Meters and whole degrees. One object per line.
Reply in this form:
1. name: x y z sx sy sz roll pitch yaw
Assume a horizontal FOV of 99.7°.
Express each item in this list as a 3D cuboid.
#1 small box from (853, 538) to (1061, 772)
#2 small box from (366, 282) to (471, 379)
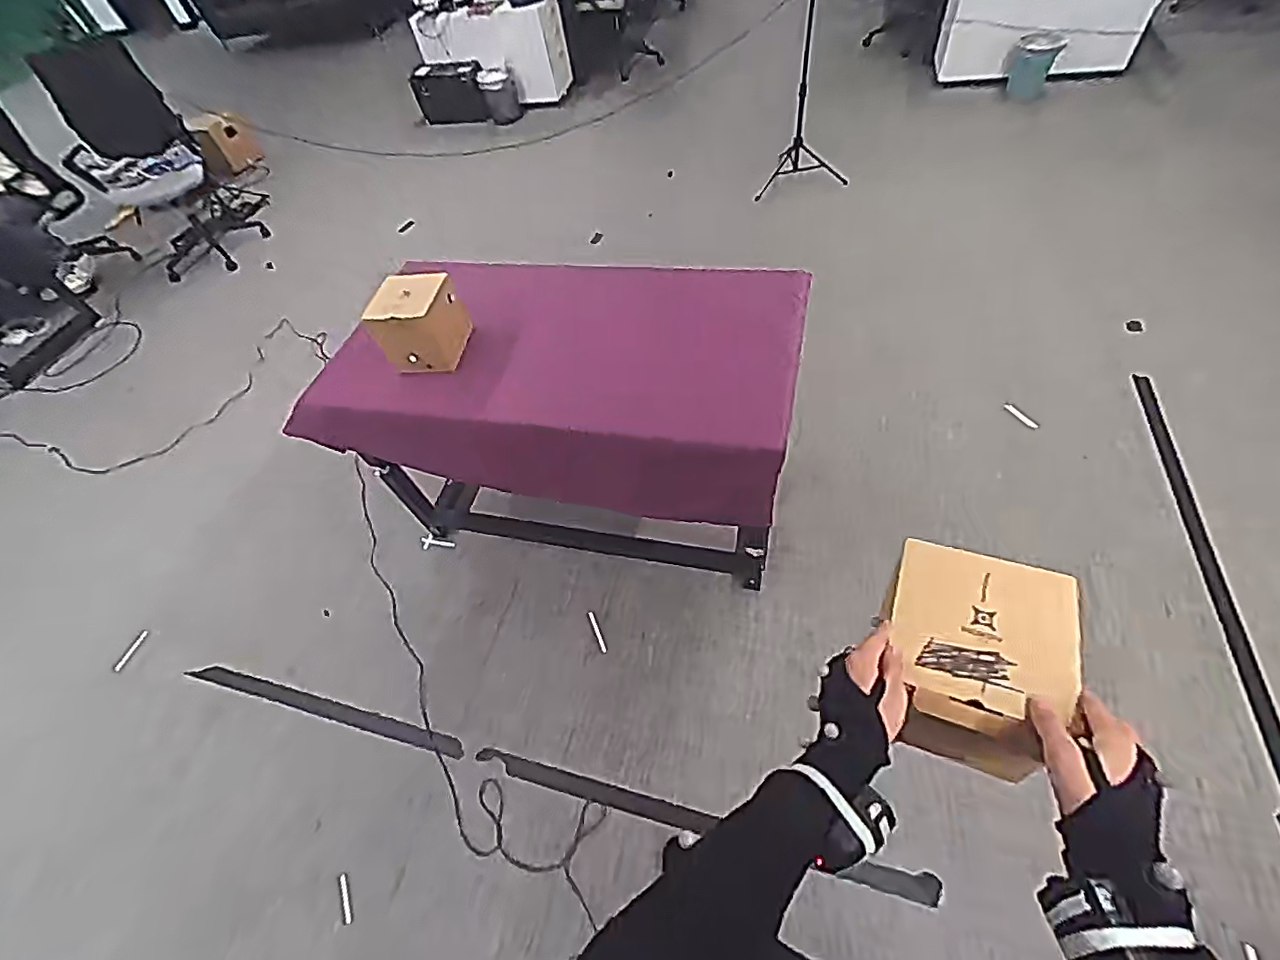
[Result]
1. small box: 0.346 0.198 0.611 0.168 0.176 0.179 13 53 22
2. small box: -0.548 -0.375 1.369 0.168 0.176 0.179 0 54 10
